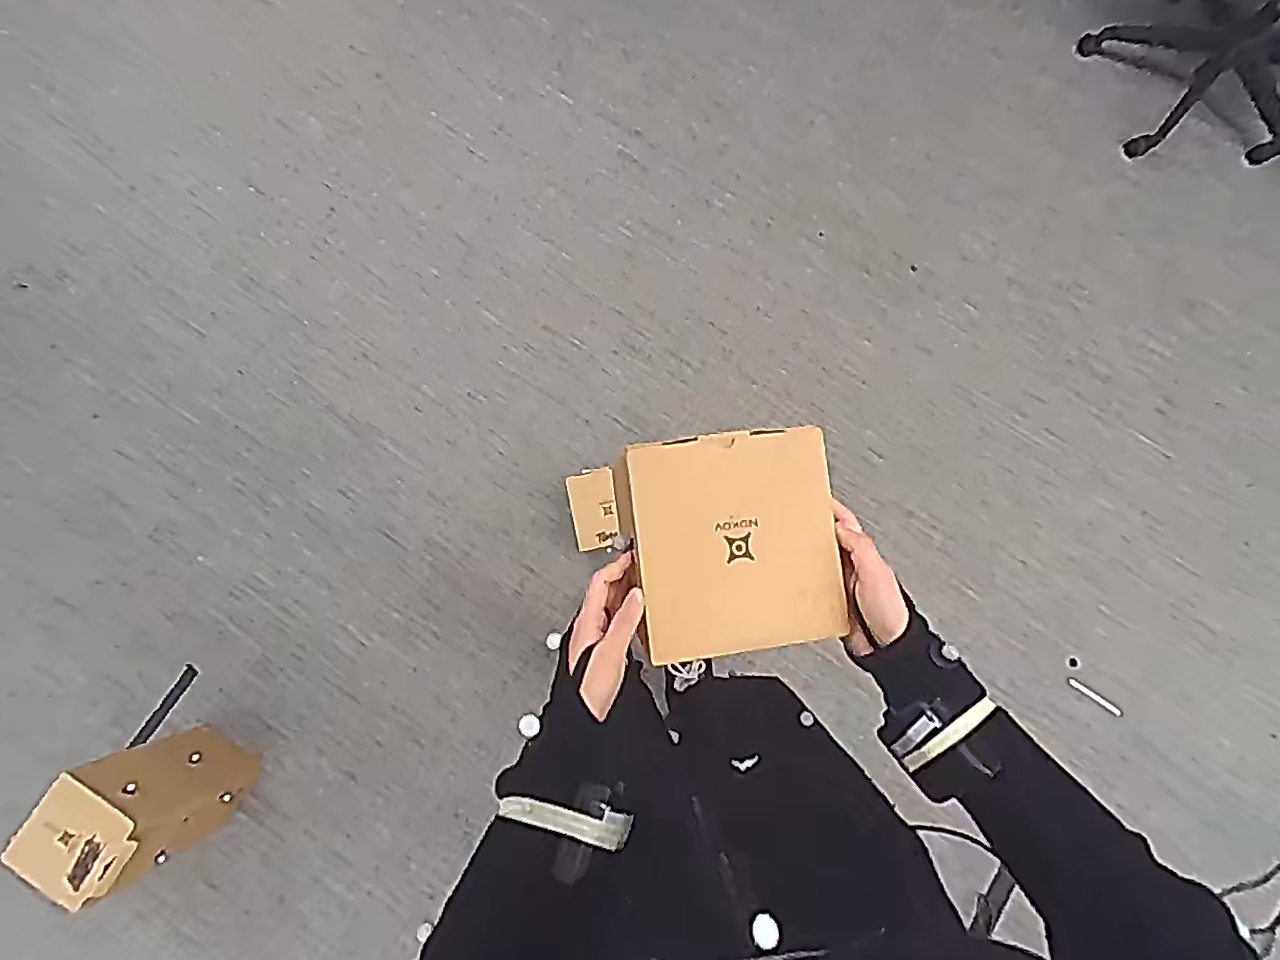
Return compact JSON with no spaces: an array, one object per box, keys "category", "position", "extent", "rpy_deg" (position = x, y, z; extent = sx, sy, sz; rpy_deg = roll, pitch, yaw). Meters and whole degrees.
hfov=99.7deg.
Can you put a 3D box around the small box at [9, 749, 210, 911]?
[{"category":"small box","position":[-0.984,0.644,1.024],"extent":[0.179,0.176,0.168],"rpy_deg":[30,80,5]}]

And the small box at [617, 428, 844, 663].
[{"category":"small box","position":[0.070,0.056,0.514],"extent":[0.168,0.176,0.179],"rpy_deg":[-6,85,-6]}]

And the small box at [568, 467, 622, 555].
[{"category":"small box","position":[-0.073,0.076,1.305],"extent":[0.168,0.176,0.179],"rpy_deg":[-12,80,-4]}]

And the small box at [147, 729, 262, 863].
[{"category":"small box","position":[-0.990,0.678,1.186],"extent":[0.179,0.176,0.168],"rpy_deg":[29,80,5]}]
